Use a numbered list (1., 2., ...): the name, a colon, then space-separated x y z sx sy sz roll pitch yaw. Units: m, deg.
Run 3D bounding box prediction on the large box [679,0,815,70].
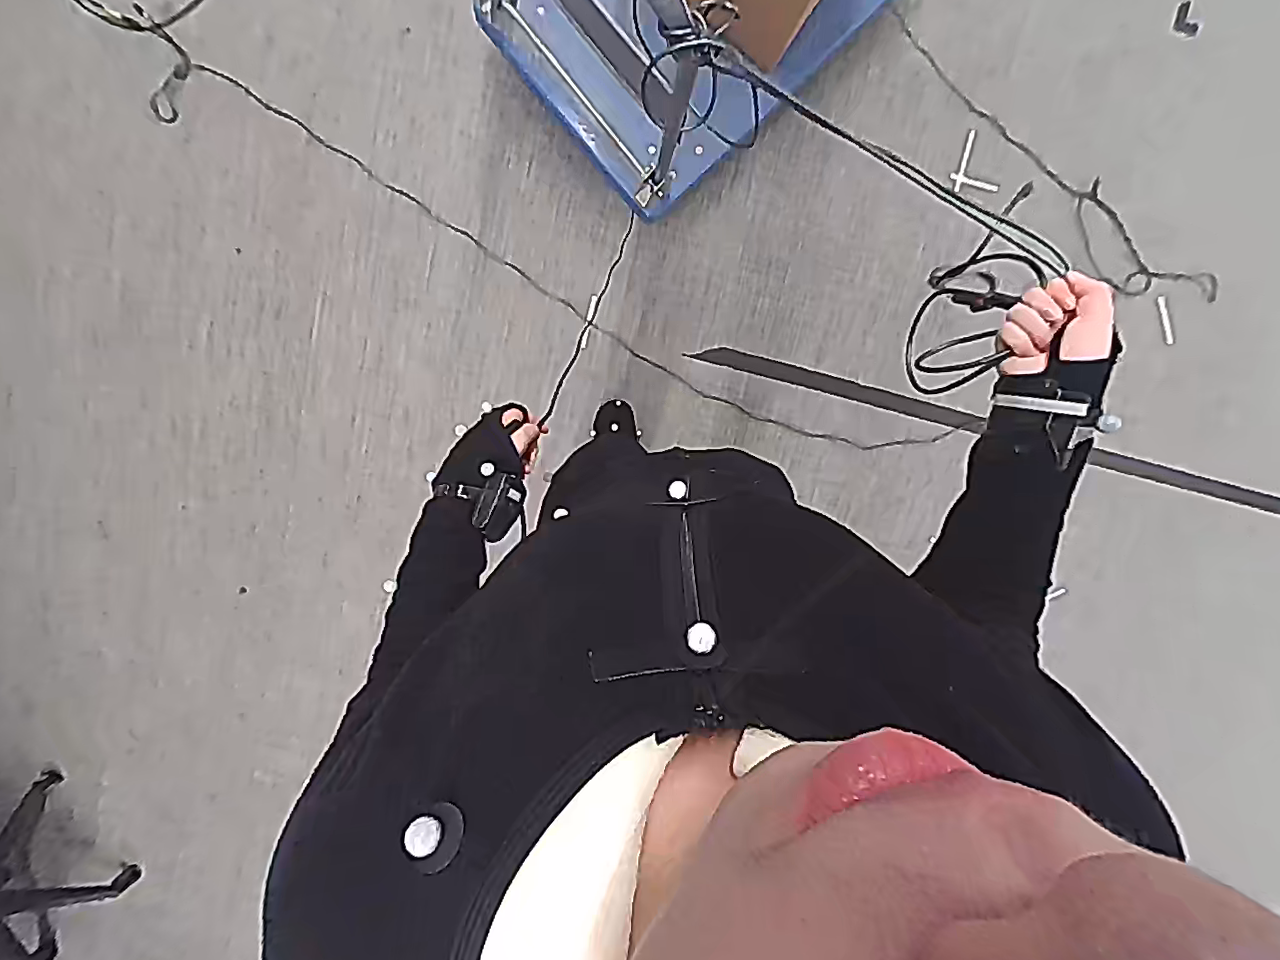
1. large box: 0.210 -1.095 0.993 0.408 0.320 0.320 32 97 -10
